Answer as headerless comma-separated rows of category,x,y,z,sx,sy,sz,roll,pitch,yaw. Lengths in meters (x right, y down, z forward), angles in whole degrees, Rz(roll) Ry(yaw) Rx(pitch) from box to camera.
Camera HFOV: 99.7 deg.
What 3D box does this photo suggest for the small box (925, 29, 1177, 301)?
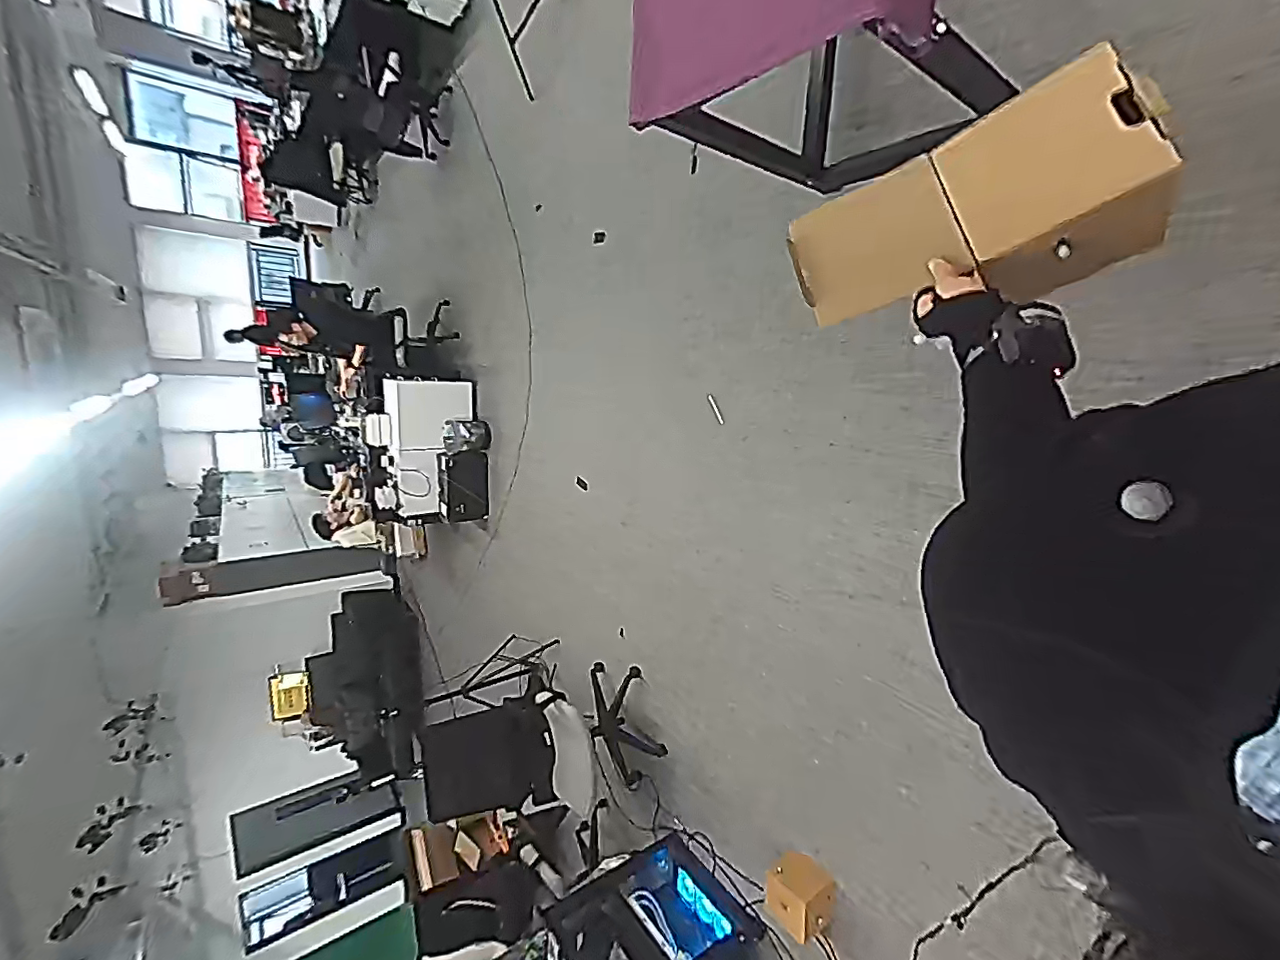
small box,0.464,-0.336,0.622,0.179,0.176,0.168,-24,71,36
